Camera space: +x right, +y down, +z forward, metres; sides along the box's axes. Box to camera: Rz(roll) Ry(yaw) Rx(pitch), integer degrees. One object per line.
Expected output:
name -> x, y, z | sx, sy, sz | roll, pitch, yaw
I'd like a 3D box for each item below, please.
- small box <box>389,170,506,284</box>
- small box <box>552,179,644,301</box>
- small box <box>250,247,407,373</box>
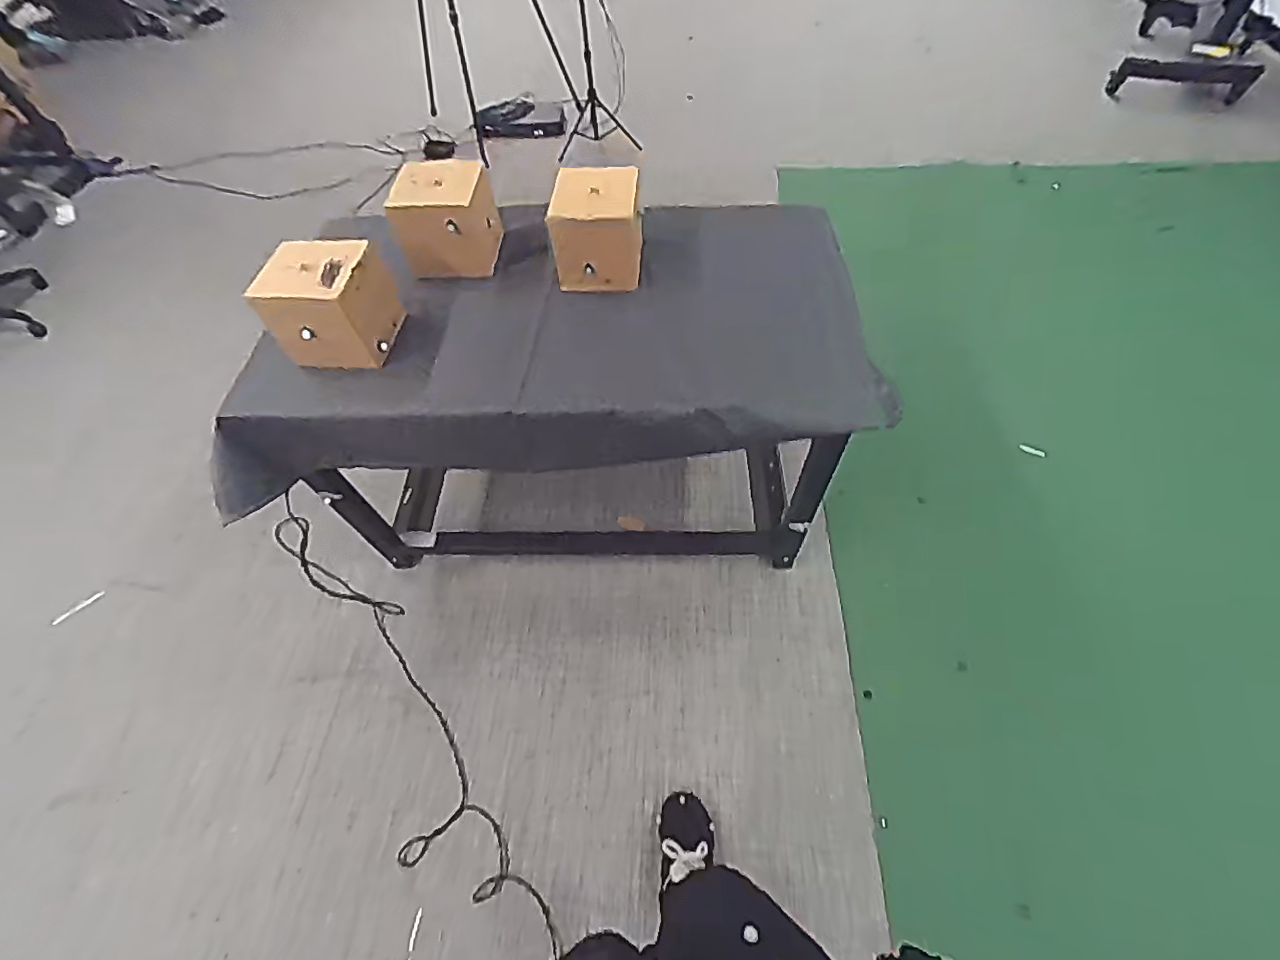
small box -> -0.402, -0.543, 1.170 | 0.179, 0.176, 0.168 | 1, 57, 4
small box -> -0.079, -0.502, 1.134 | 0.168, 0.176, 0.179 | 2, 58, 4
small box -> -0.578, -0.321, 1.035 | 0.179, 0.176, 0.168 | 3, 56, 5
